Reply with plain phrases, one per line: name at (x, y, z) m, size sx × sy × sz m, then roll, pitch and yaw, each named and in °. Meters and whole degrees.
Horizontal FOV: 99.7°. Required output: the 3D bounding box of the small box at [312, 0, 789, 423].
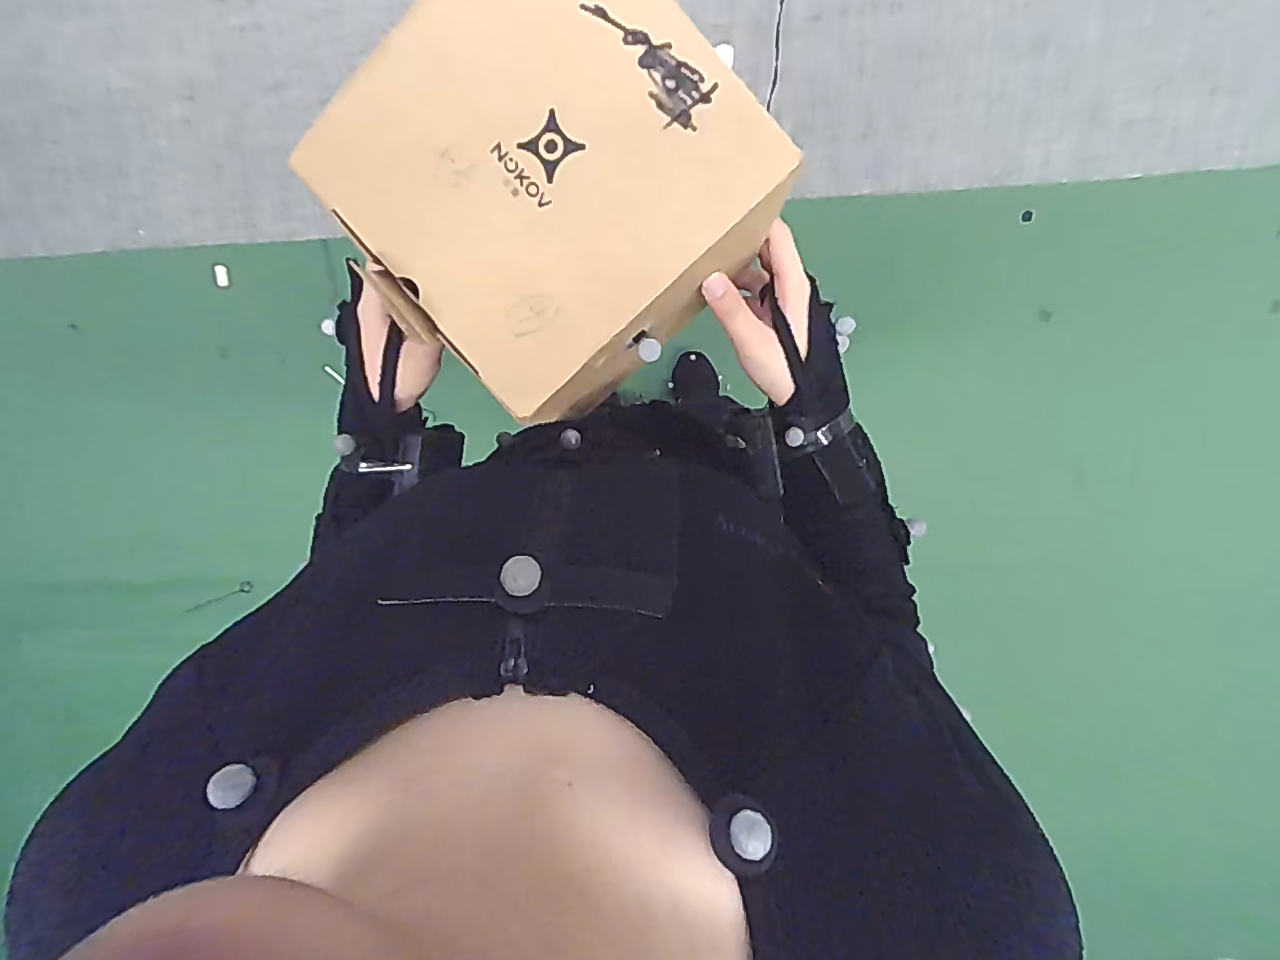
small box at (-0.038, -0.152, 0.333) m, size 0.179 × 0.176 × 0.168 m, roll -41°, pitch 93°, yaw 9°
